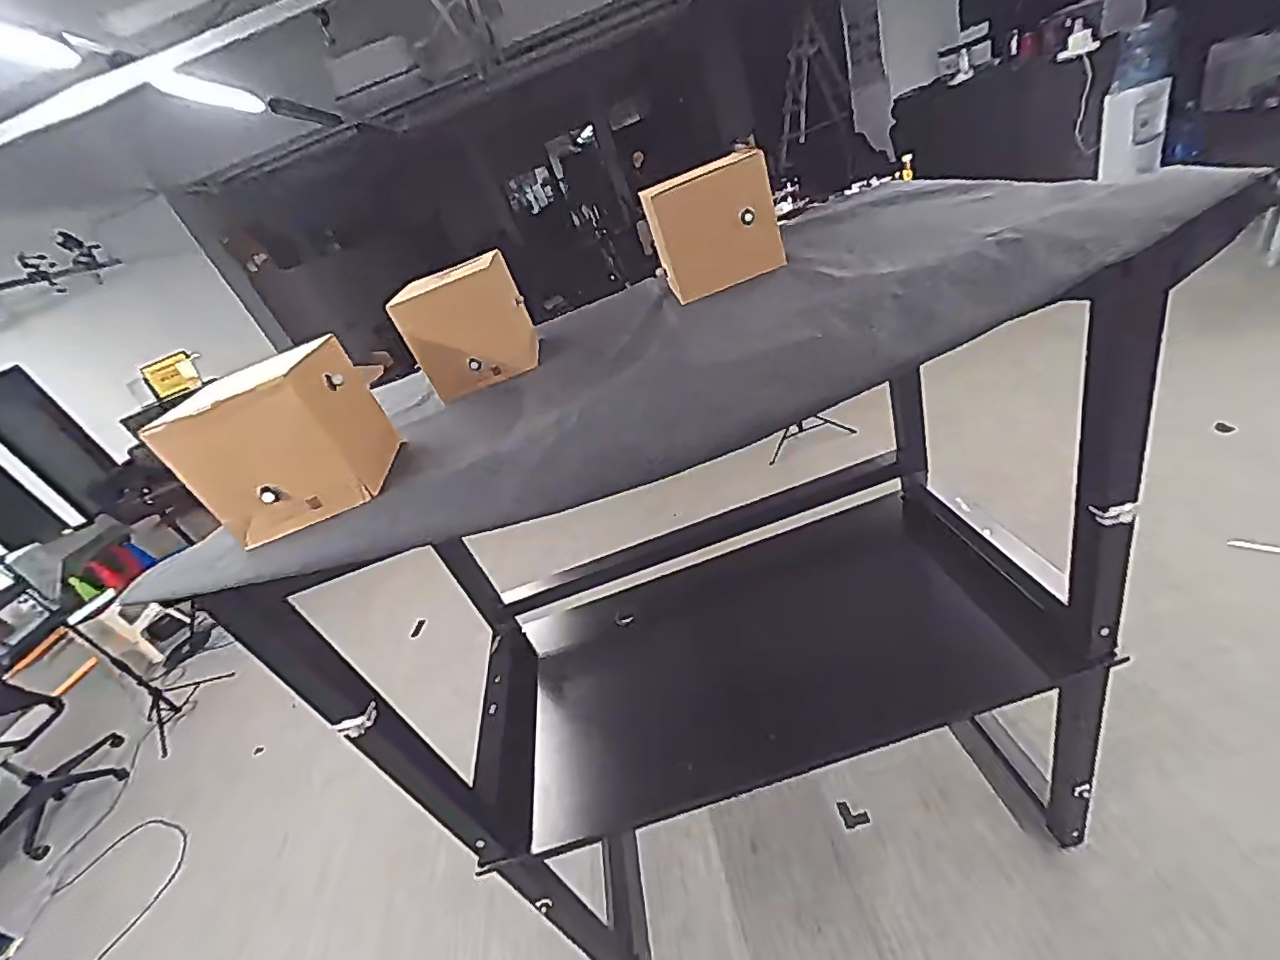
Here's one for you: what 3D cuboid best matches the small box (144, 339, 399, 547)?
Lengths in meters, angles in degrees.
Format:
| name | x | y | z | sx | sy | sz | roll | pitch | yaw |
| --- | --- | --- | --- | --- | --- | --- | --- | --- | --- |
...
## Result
| name | x | y | z | sx | sy | sz | roll | pitch | yaw |
| --- | --- | --- | --- | --- | --- | --- | --- | --- | --- |
| small box | -0.425 | -0.048 | 0.666 | 0.168 | 0.176 | 0.179 | -22 | 31 | 0 |

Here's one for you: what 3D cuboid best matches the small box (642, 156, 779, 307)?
| name | x | y | z | sx | sy | sz | roll | pitch | yaw |
| --- | --- | --- | --- | --- | --- | --- | --- | --- | --- |
| small box | 0.116 | -0.406 | 0.884 | 0.179 | 0.176 | 0.168 | -19 | 29 | 5 |
